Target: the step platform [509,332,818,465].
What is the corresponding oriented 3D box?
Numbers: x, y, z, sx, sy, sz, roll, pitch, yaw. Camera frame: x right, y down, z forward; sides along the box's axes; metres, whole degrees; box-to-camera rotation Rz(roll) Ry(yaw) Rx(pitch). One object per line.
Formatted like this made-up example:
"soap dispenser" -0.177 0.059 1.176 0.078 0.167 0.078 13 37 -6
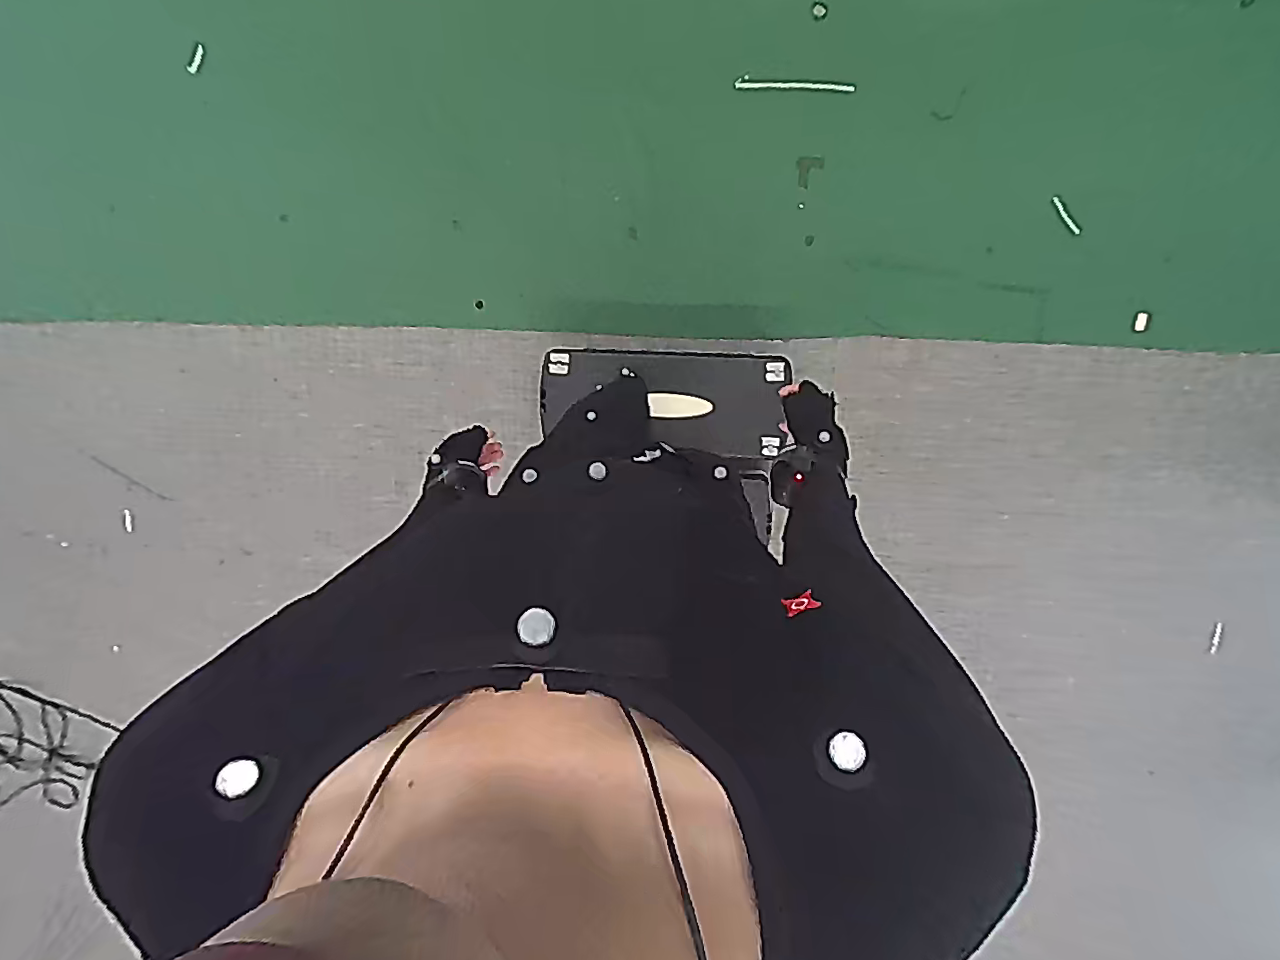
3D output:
"step platform" 0.052 -0.197 1.291 0.684 0.204 0.286 1 101 2
